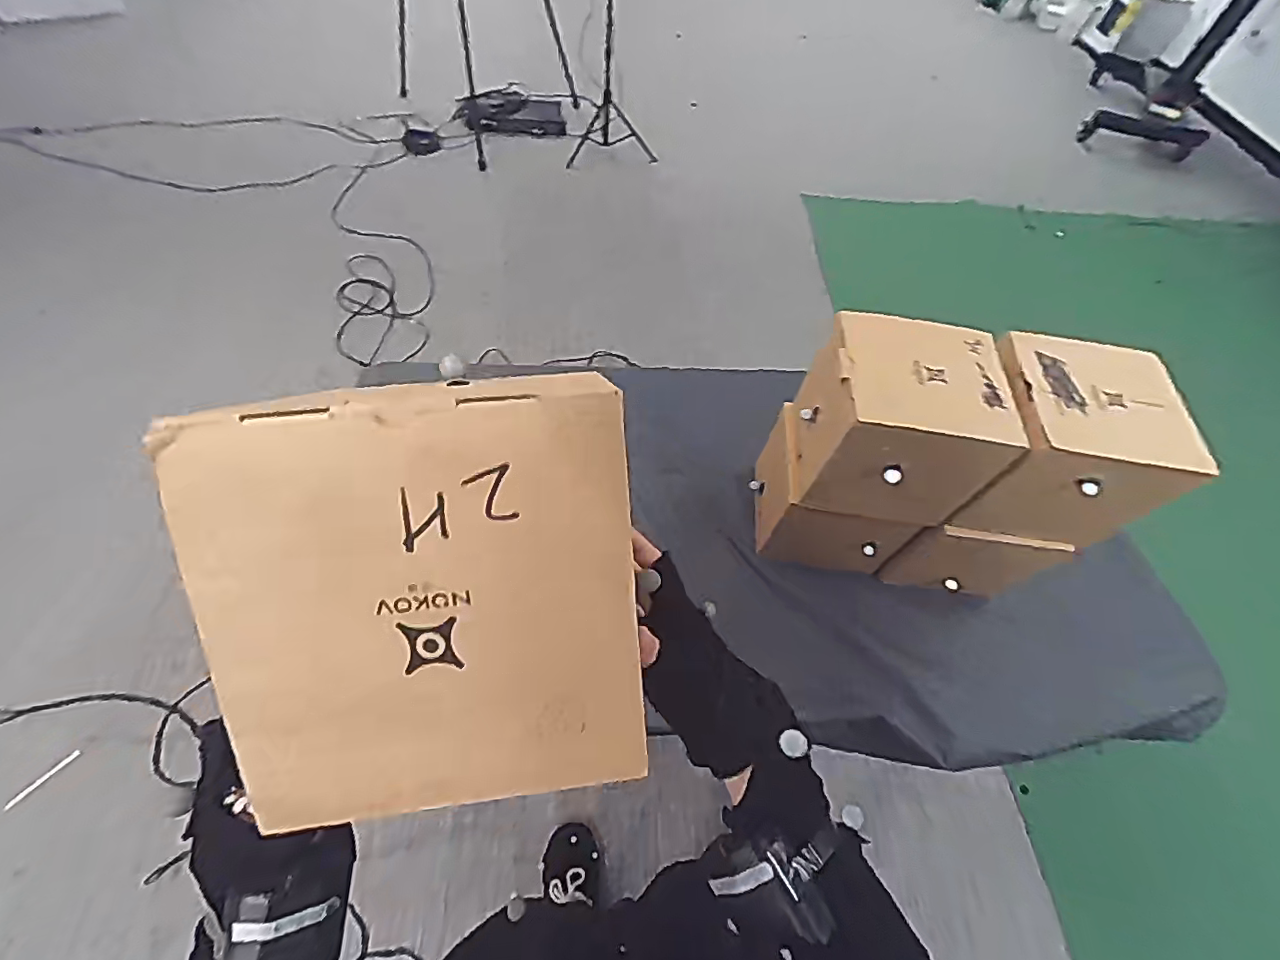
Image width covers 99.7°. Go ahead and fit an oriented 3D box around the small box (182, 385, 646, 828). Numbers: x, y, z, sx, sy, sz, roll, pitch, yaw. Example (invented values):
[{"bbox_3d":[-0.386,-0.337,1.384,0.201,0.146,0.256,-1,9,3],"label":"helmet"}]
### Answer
[{"bbox_3d":[-0.091,0.043,0.300,0.168,0.176,0.179,-5,102,-7],"label":"small box"}]
